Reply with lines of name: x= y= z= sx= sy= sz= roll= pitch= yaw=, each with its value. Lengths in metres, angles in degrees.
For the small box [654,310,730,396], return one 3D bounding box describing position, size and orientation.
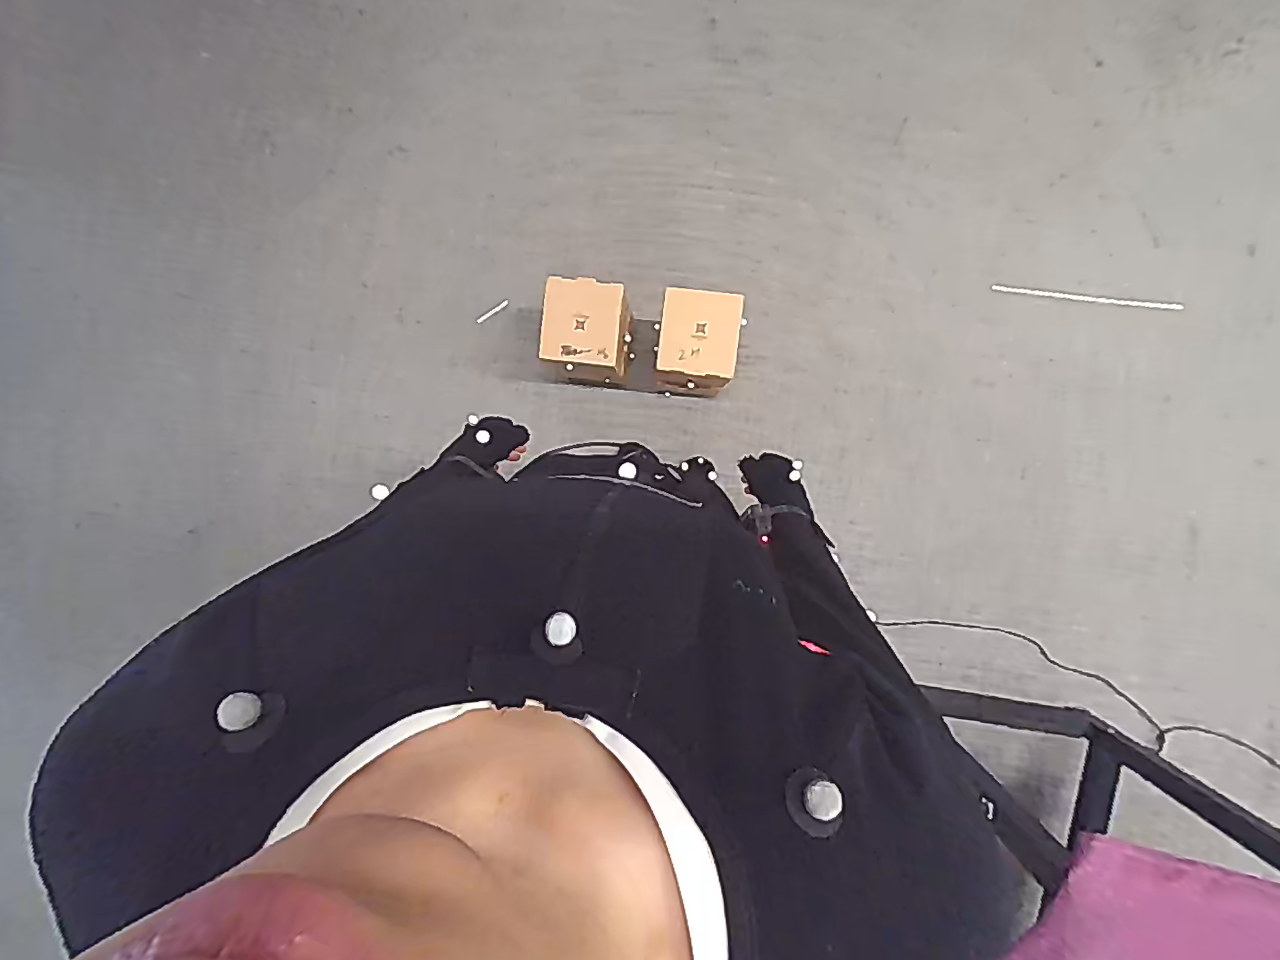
small box: x=0.127 y=-0.314 z=1.371 sx=0.168 sy=0.176 sz=0.179 roll=7 pitch=92 yaw=1
